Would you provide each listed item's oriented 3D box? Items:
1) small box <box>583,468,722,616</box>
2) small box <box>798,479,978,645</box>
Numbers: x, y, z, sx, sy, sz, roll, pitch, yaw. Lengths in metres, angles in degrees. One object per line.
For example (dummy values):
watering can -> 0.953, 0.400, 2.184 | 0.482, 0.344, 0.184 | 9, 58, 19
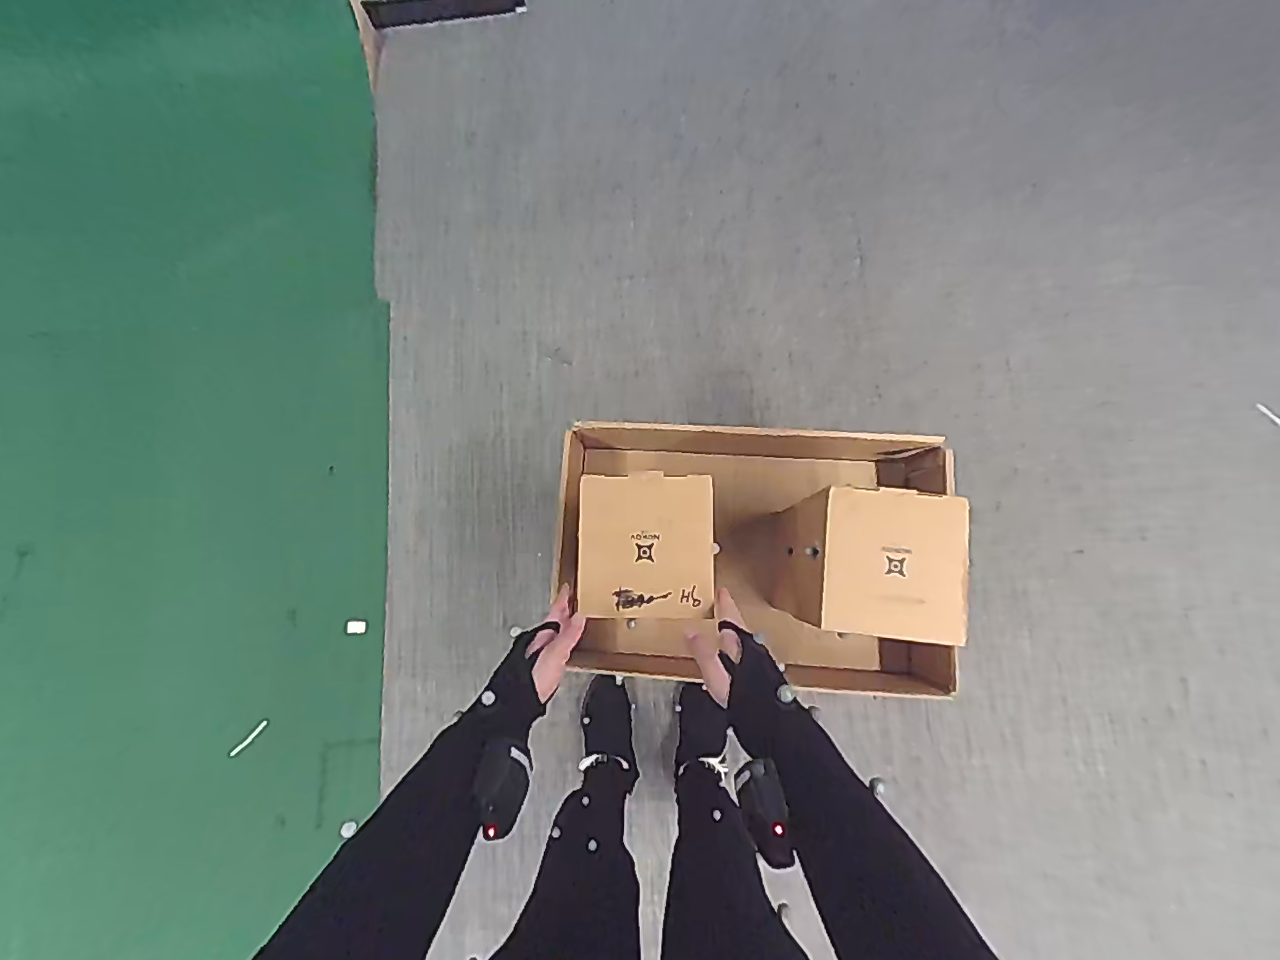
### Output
small box -> 0.019, 0.086, 0.725 | 0.168, 0.176, 0.179 | 0, 80, 3
small box -> 0.311, 0.106, 0.707 | 0.168, 0.176, 0.179 | 6, 81, 5
